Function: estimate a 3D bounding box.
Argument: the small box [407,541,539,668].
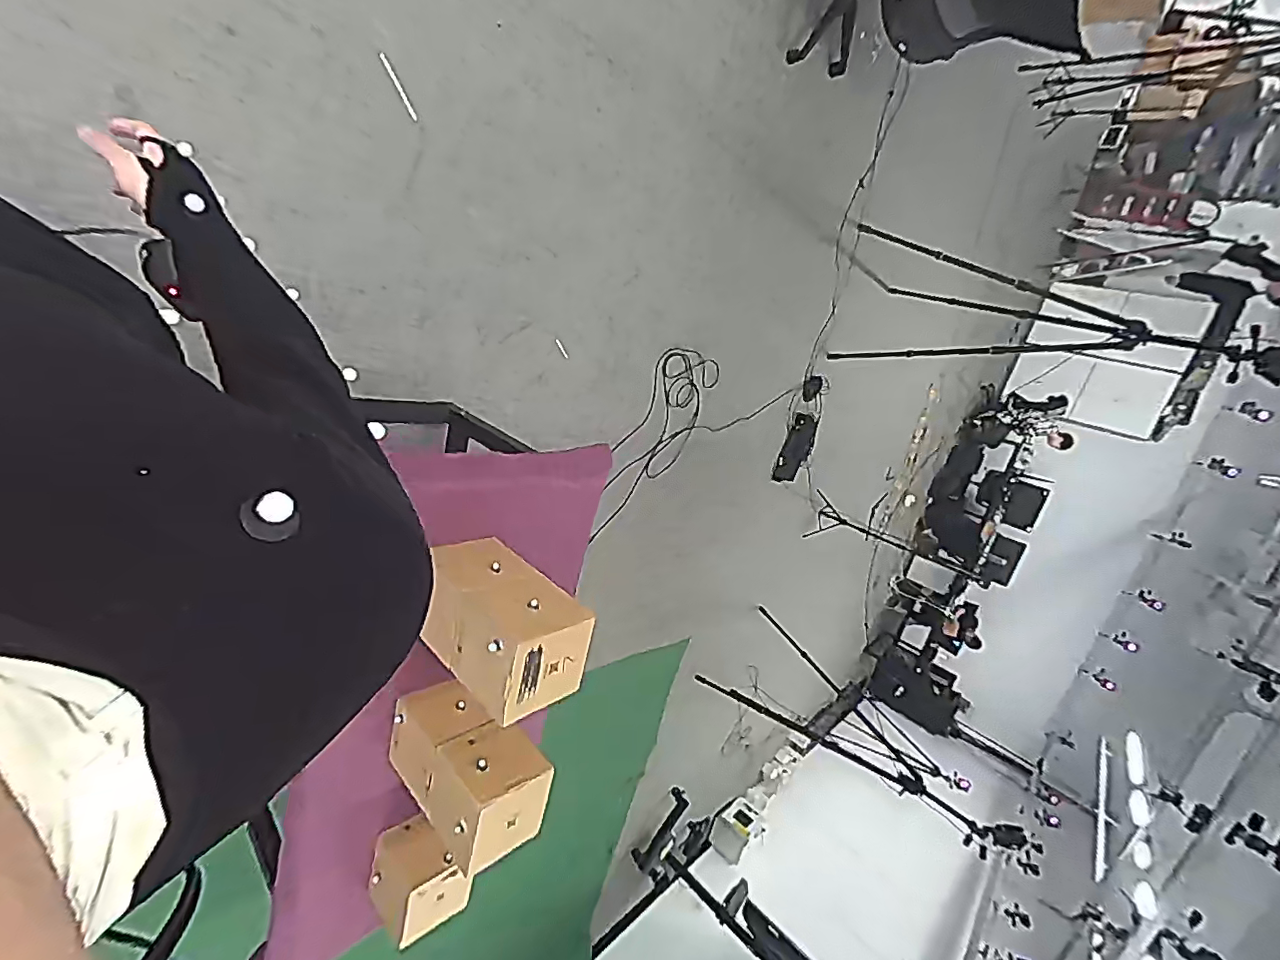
[{"bbox_3d":[-0.332,0.234,1.071,0.179,0.176,0.168,-5,115,-48],"label":"small box"}]

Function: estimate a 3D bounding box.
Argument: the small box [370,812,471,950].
[{"bbox_3d":[-0.514,0.921,1.270,0.168,0.176,0.179,-3,113,-49],"label":"small box"}]

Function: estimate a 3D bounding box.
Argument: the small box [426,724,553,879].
[{"bbox_3d":[-0.301,0.615,1.068,0.168,0.176,0.179,-3,114,-48],"label":"small box"}]

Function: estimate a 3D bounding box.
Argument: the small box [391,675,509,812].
[{"bbox_3d":[-0.415,0.556,1.169,0.179,0.176,0.168,-5,115,-49],"label":"small box"}]
